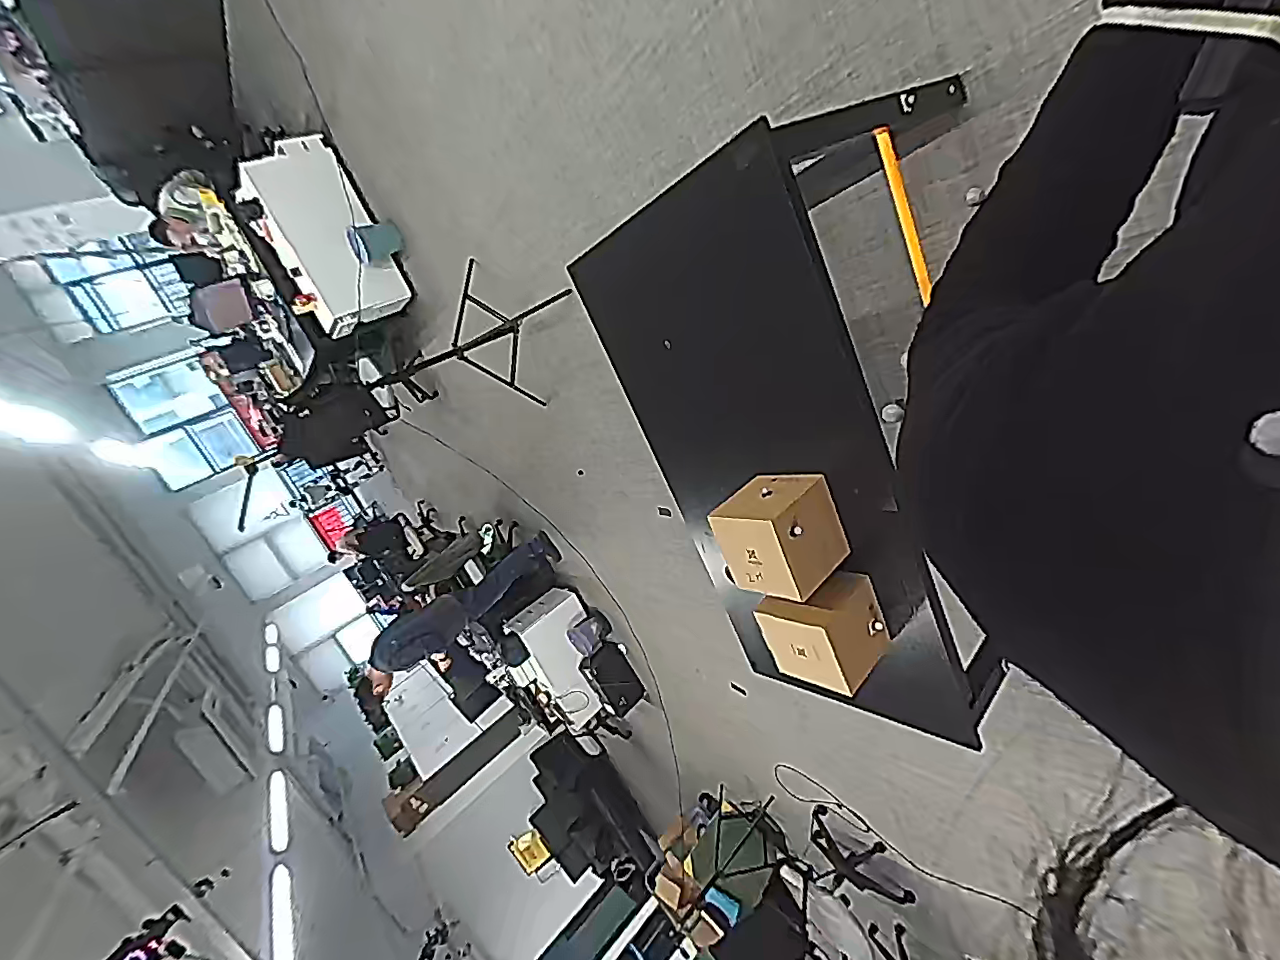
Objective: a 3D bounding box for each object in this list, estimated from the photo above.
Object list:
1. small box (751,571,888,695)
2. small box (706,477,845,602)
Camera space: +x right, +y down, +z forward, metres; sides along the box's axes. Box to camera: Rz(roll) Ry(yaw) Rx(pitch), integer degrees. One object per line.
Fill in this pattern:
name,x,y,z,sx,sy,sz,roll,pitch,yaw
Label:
small box,0.365,0.294,1.095,0.179,0.176,0.168,-3,118,55
small box,0.264,0.105,1.047,0.168,0.176,0.179,0,120,55
